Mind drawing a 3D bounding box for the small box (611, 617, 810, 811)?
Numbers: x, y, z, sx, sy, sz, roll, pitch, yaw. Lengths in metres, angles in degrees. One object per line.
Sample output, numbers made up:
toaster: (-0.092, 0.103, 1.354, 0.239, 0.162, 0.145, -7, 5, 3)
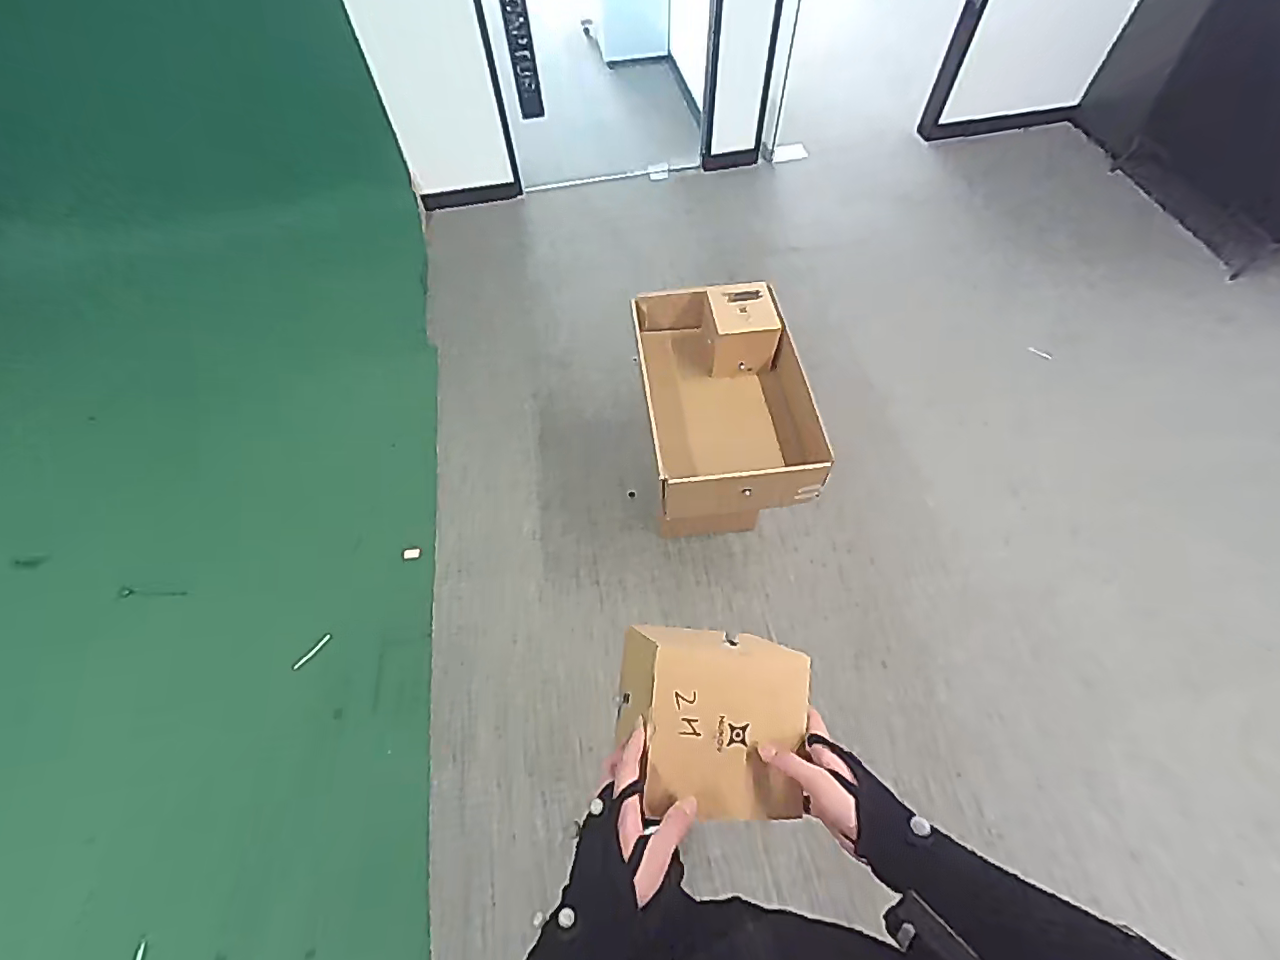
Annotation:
small box: (0.072, 0.257, 0.628, 0.179, 0.176, 0.168, 8, 81, -11)
